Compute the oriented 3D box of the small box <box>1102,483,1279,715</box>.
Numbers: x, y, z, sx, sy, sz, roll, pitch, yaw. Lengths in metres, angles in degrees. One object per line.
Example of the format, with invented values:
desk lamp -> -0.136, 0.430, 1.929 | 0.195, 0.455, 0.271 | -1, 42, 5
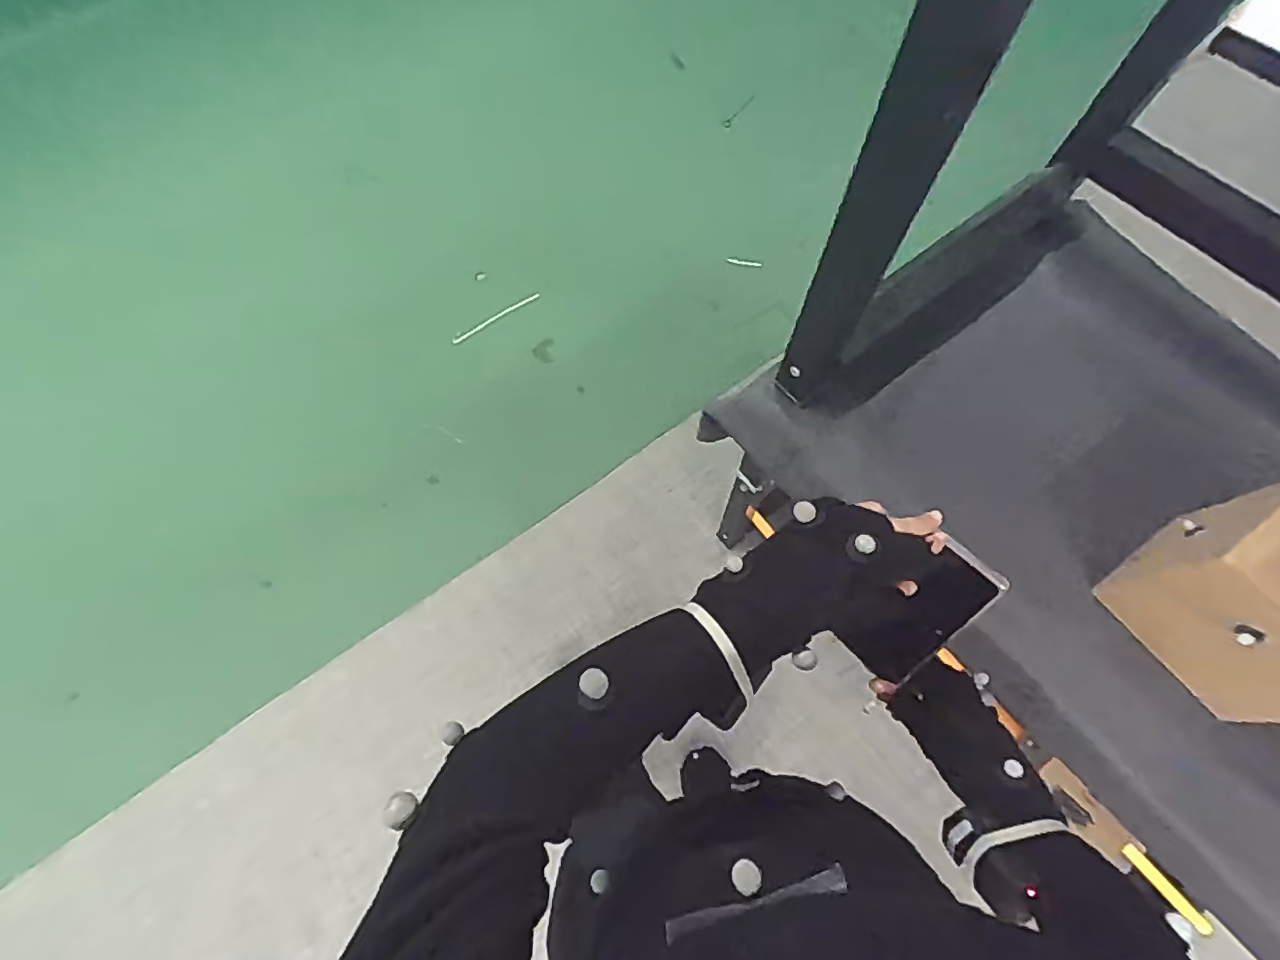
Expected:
small box -> 0.653, 0.125, 0.561 | 0.168, 0.176, 0.179 | -33, 70, -10
